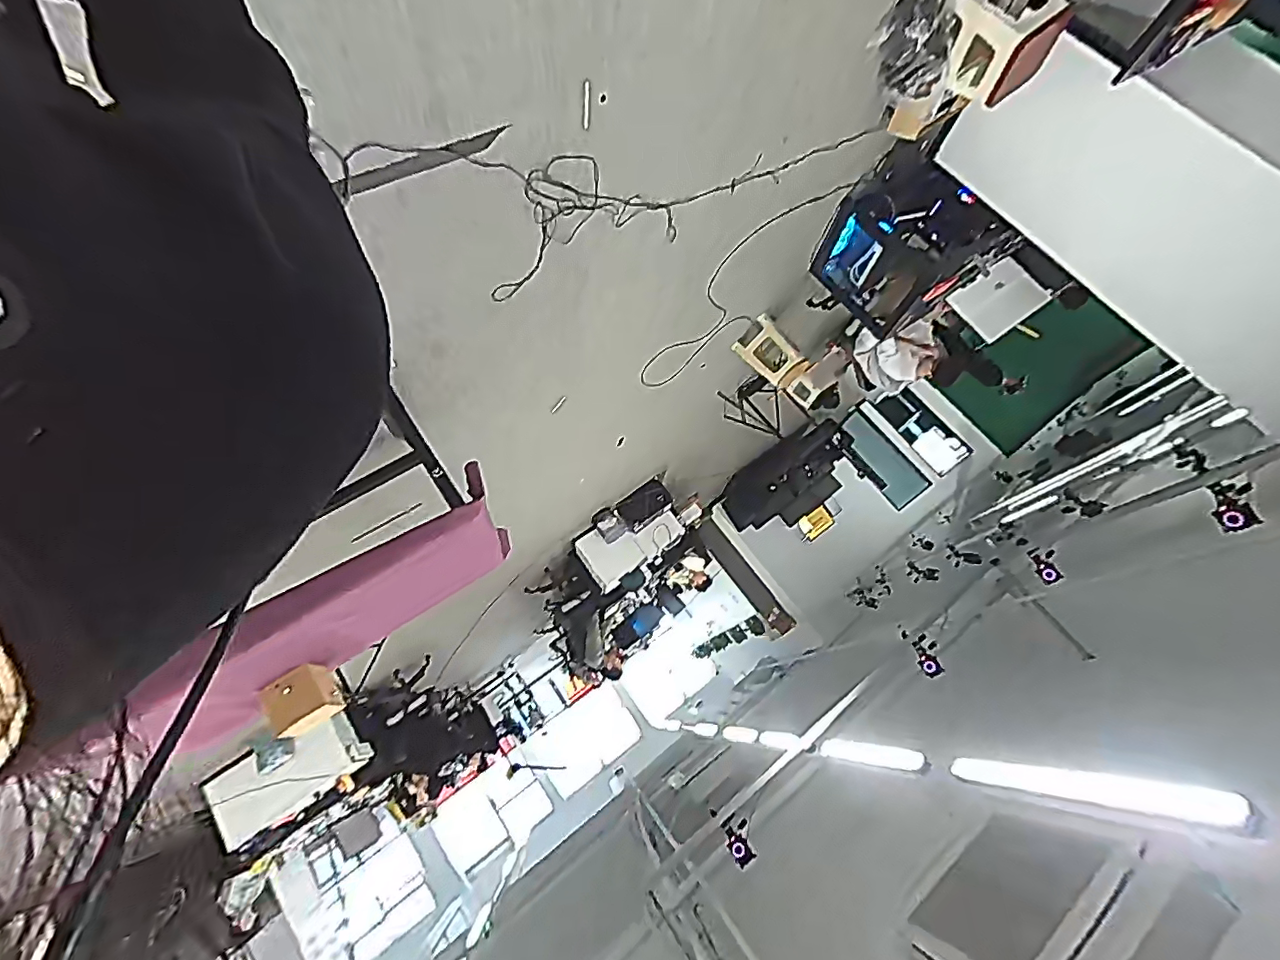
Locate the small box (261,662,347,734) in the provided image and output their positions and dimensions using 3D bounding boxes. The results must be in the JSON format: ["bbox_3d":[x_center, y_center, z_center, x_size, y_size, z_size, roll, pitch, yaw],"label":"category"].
[{"bbox_3d":[-1.161,0.754,1.875,0.168,0.176,0.179,-34,163,-19],"label":"small box"}]
